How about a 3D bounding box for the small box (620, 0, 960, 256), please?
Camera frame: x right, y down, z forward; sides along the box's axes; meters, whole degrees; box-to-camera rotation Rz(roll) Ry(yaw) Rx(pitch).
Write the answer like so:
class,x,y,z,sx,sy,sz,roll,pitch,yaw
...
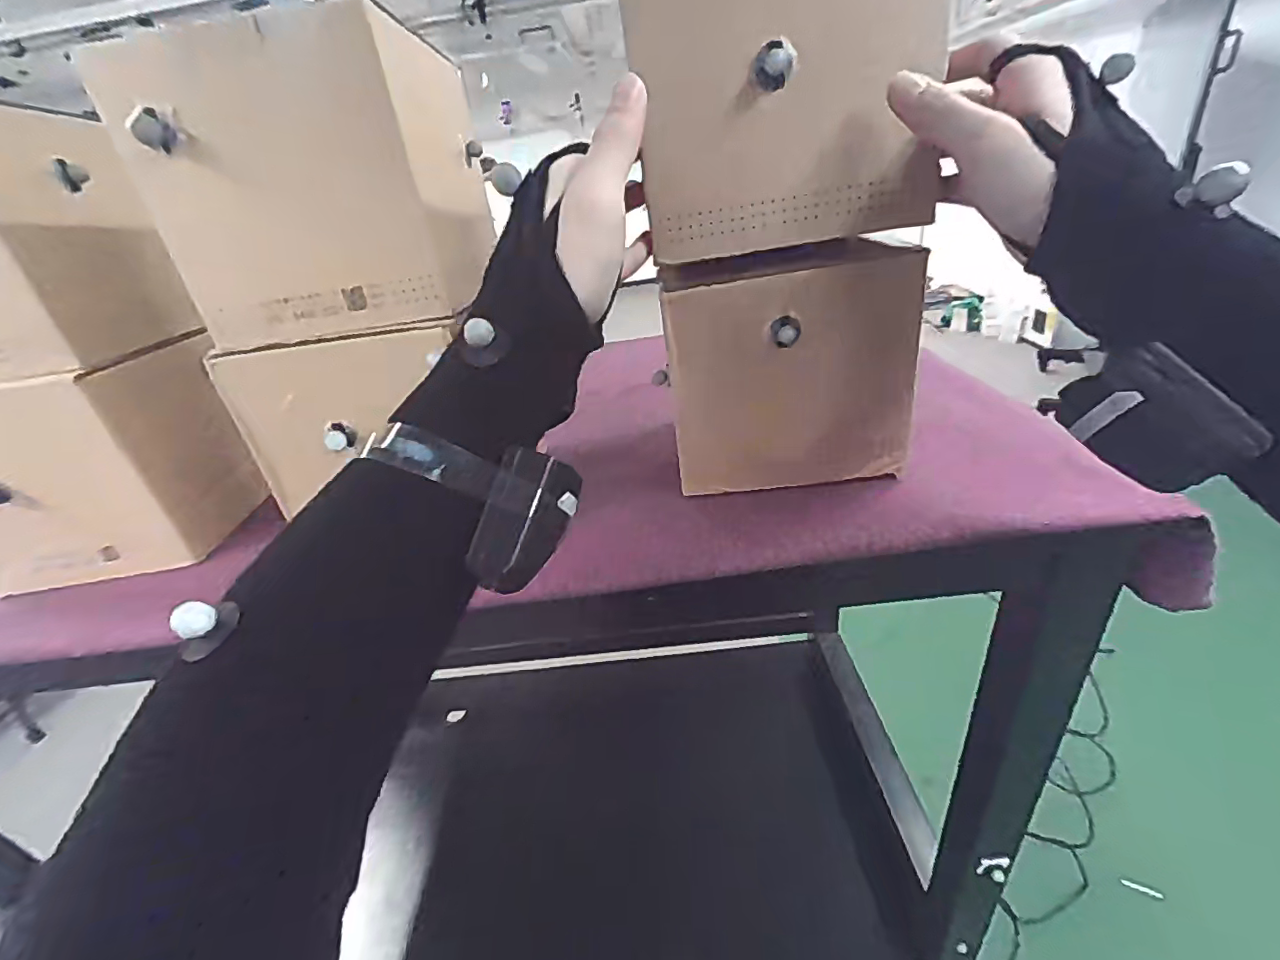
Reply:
class,x,y,z,sx,sy,sz,roll,pitch,yaw
small box,0.084,-0.253,0.355,0.179,0.176,0.168,-6,25,5
